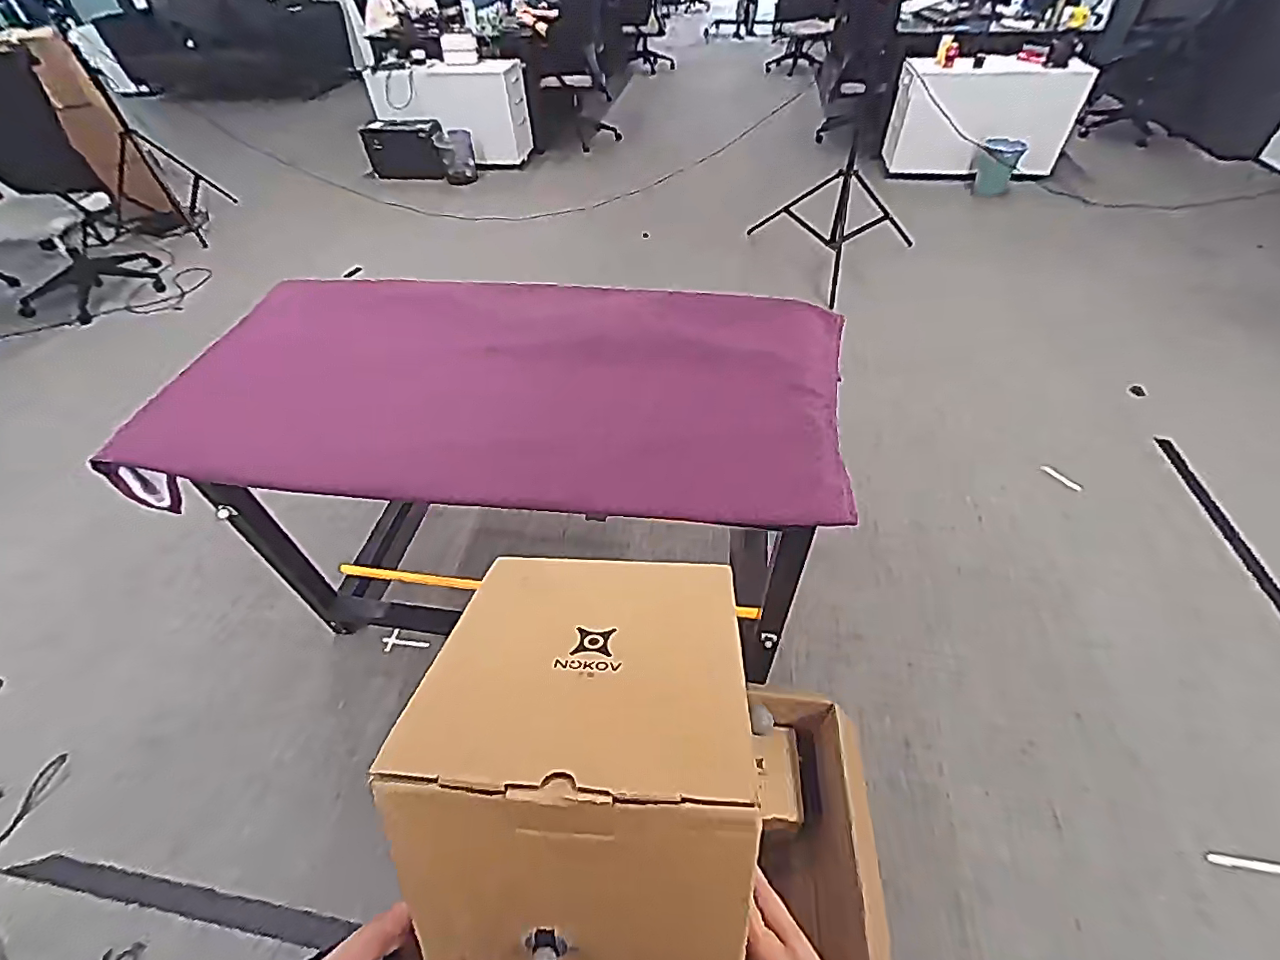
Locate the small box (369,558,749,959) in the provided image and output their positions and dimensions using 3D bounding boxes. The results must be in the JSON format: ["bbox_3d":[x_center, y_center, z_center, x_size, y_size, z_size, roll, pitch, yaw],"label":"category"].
[{"bbox_3d":[-0.029,0.166,0.331,0.168,0.176,0.179,0,25,5],"label":"small box"}]
